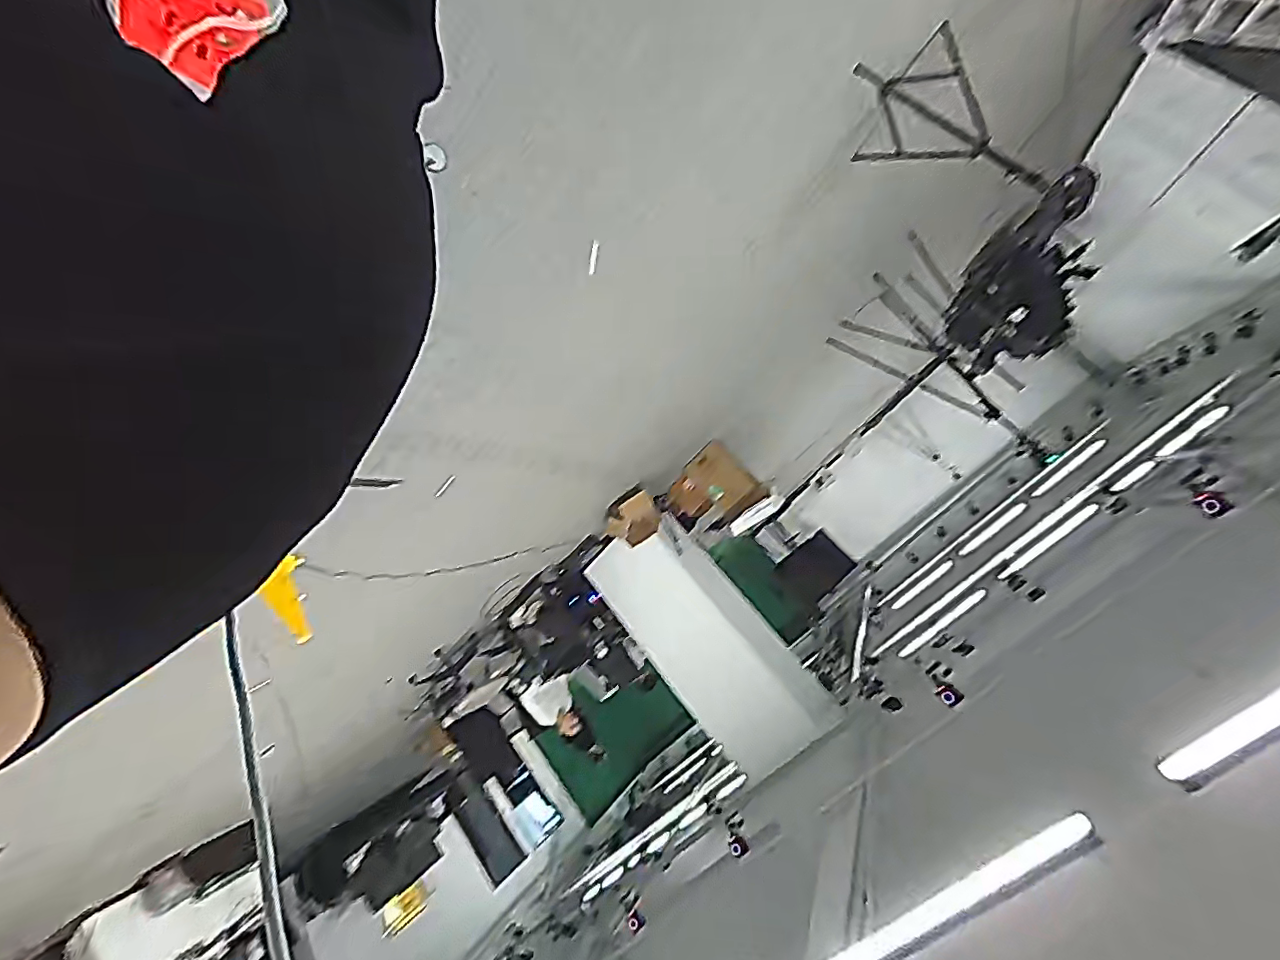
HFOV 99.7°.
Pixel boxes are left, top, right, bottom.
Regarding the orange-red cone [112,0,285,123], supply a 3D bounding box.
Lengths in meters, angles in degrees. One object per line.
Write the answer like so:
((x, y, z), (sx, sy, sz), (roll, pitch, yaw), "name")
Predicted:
((-0.702, -0.715, 0.925), (0.198, 0.360, 0.199), (-49, 159, 20), "orange-red cone")
